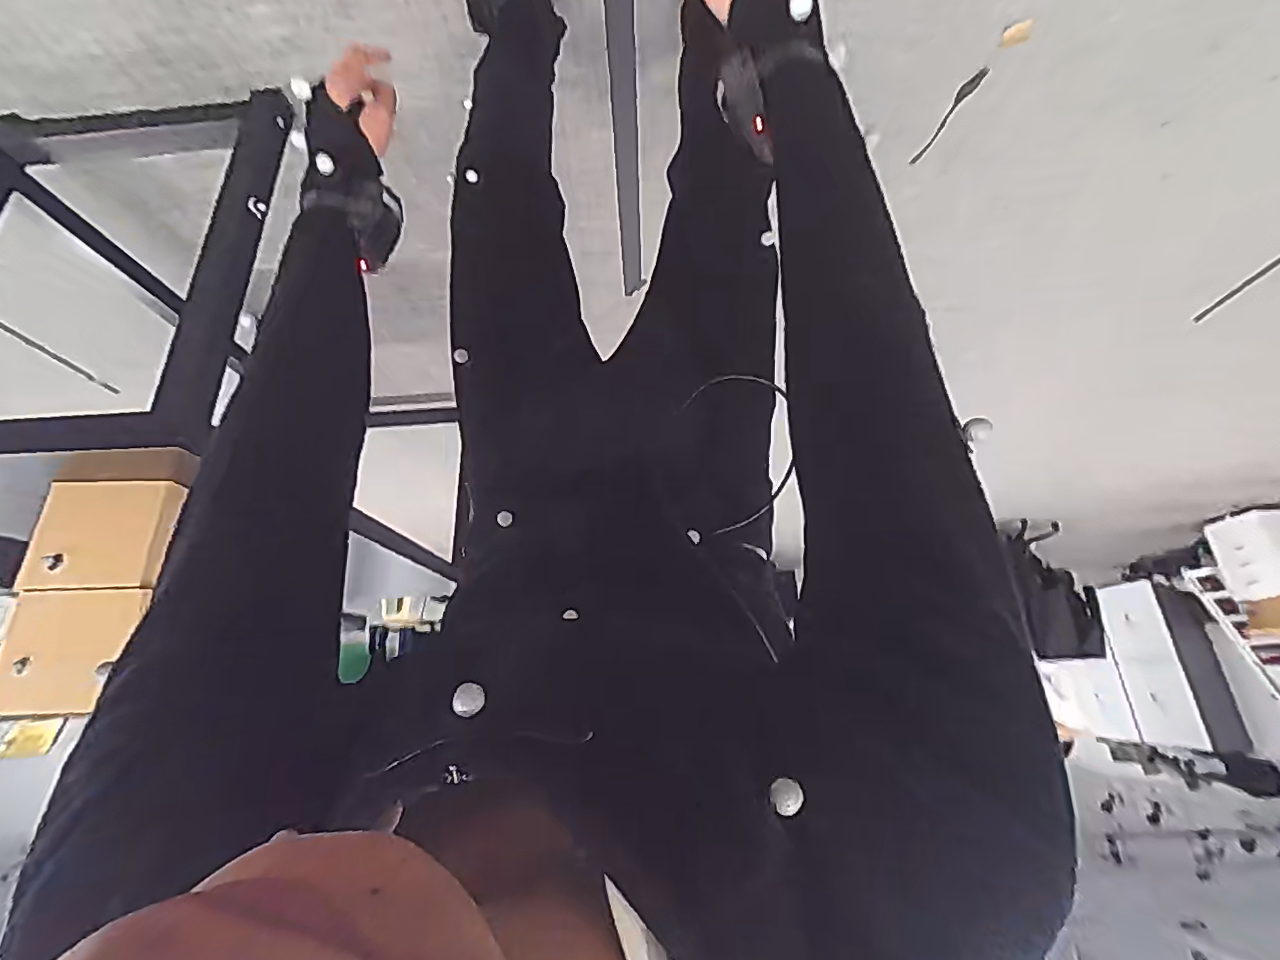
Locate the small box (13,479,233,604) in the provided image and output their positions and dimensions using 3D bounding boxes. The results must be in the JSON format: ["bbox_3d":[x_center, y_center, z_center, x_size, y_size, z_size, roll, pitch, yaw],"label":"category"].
[{"bbox_3d":[-0.804,0.101,0.866,0.179,0.176,0.168,-1,160,-3],"label":"small box"}]
